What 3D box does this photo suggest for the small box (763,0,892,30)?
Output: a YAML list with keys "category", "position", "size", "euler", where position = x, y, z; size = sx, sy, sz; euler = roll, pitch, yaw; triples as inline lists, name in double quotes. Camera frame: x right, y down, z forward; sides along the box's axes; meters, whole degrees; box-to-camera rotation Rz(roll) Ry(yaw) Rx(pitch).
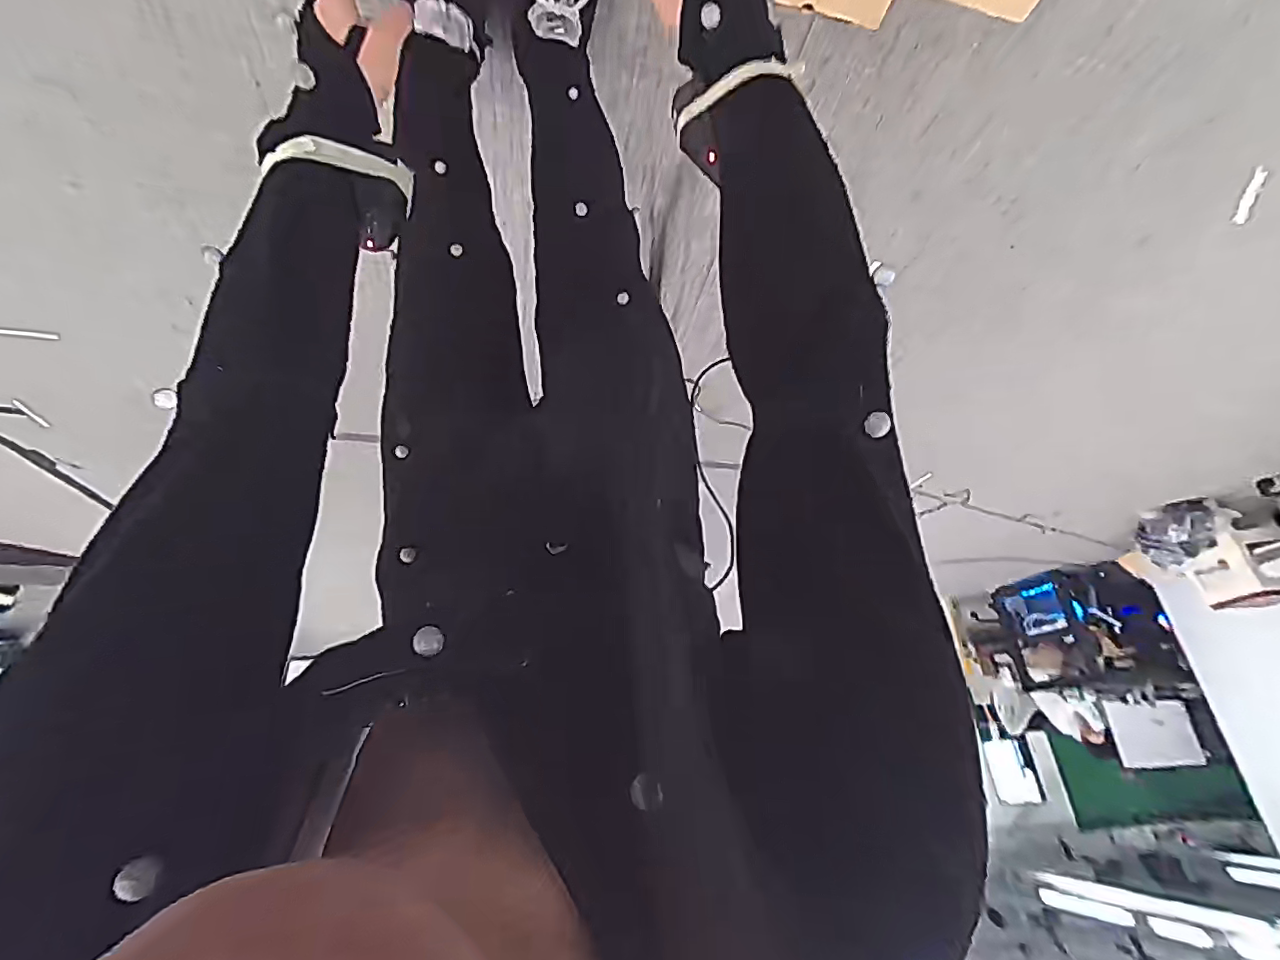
- category: "small box"
  position: [0.186, -0.590, 0.516]
  size: [0.168, 0.176, 0.179]
  euler: [3, 152, -12]
